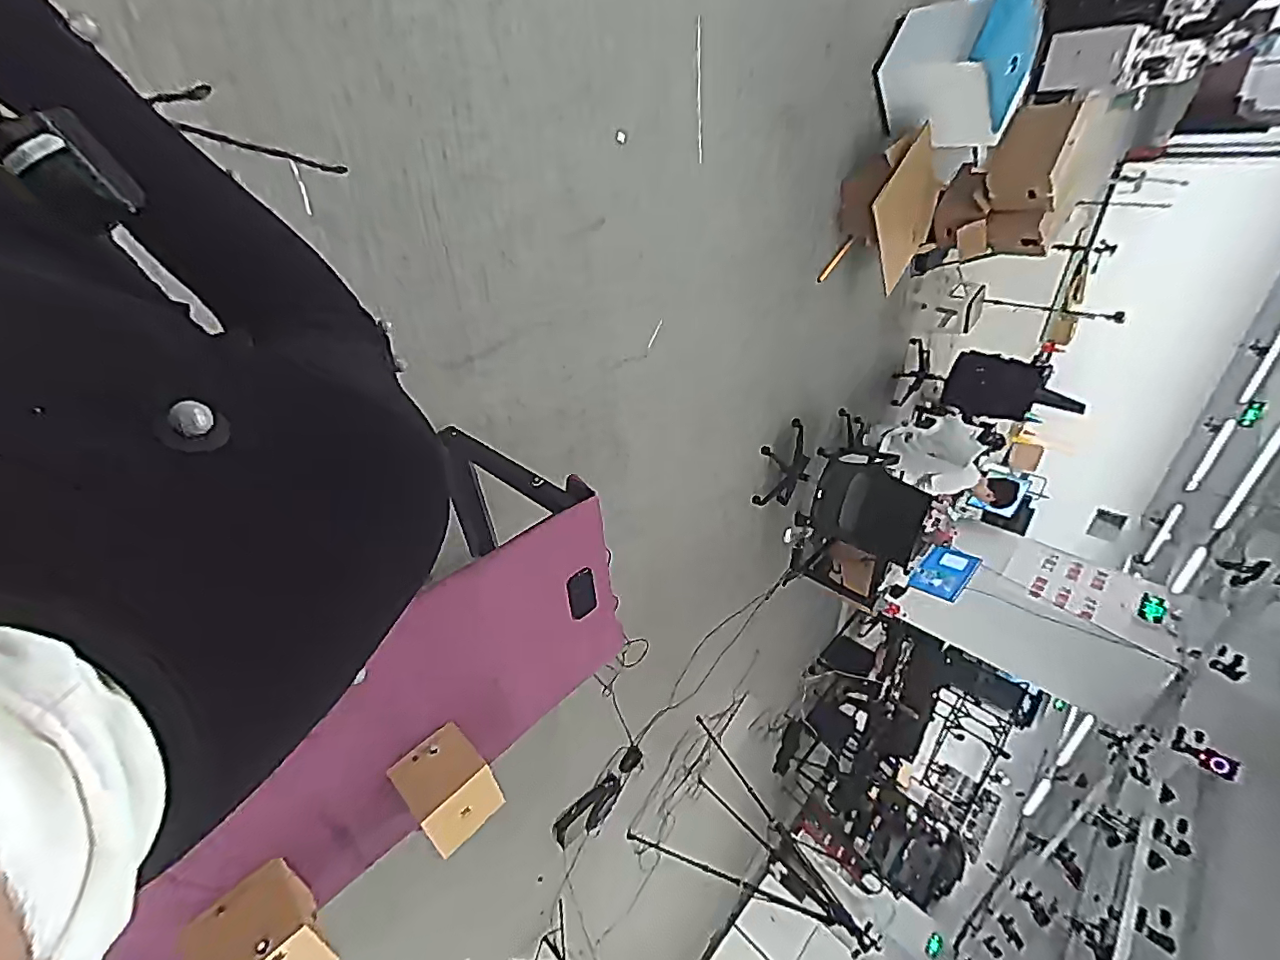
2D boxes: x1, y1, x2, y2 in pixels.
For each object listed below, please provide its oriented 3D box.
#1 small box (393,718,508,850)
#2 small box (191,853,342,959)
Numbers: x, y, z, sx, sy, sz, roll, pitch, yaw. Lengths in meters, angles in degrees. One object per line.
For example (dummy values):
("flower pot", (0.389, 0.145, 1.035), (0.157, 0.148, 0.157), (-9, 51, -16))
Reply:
("small box", (-0.436, 0.693, 1.248), (0.168, 0.176, 0.179), (-34, 133, -33))
("small box", (-0.710, 0.867, 1.033), (0.168, 0.176, 0.179), (-32, 133, -35))
